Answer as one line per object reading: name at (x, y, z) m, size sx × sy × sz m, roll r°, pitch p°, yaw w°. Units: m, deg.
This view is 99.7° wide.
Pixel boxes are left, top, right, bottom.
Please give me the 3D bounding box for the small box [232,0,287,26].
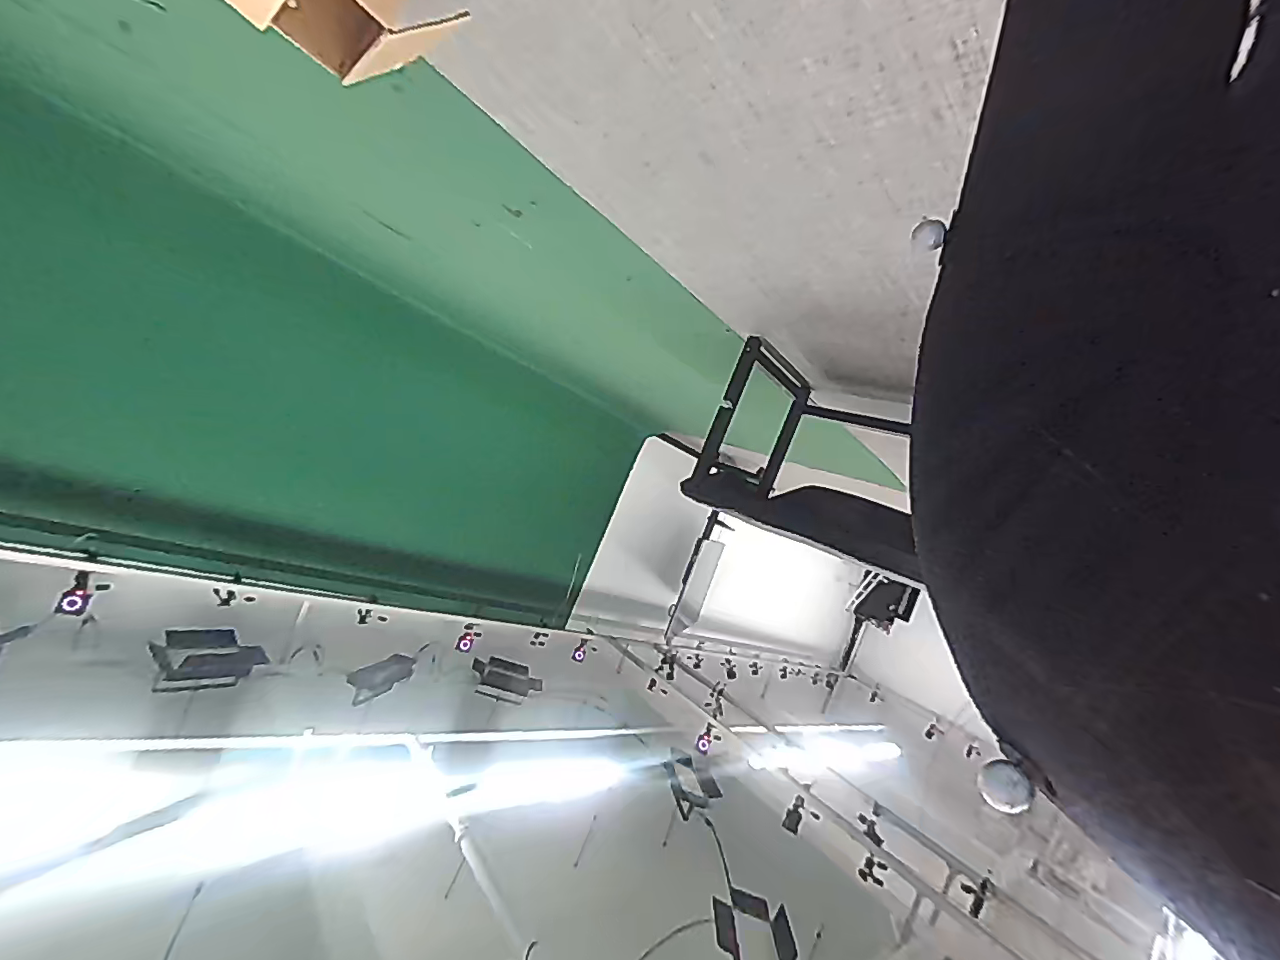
small box at (-0.575, -0.823, 0.776) m, size 0.179 × 0.176 × 0.168 m, roll 19°, pitch 175°, yaw 42°
